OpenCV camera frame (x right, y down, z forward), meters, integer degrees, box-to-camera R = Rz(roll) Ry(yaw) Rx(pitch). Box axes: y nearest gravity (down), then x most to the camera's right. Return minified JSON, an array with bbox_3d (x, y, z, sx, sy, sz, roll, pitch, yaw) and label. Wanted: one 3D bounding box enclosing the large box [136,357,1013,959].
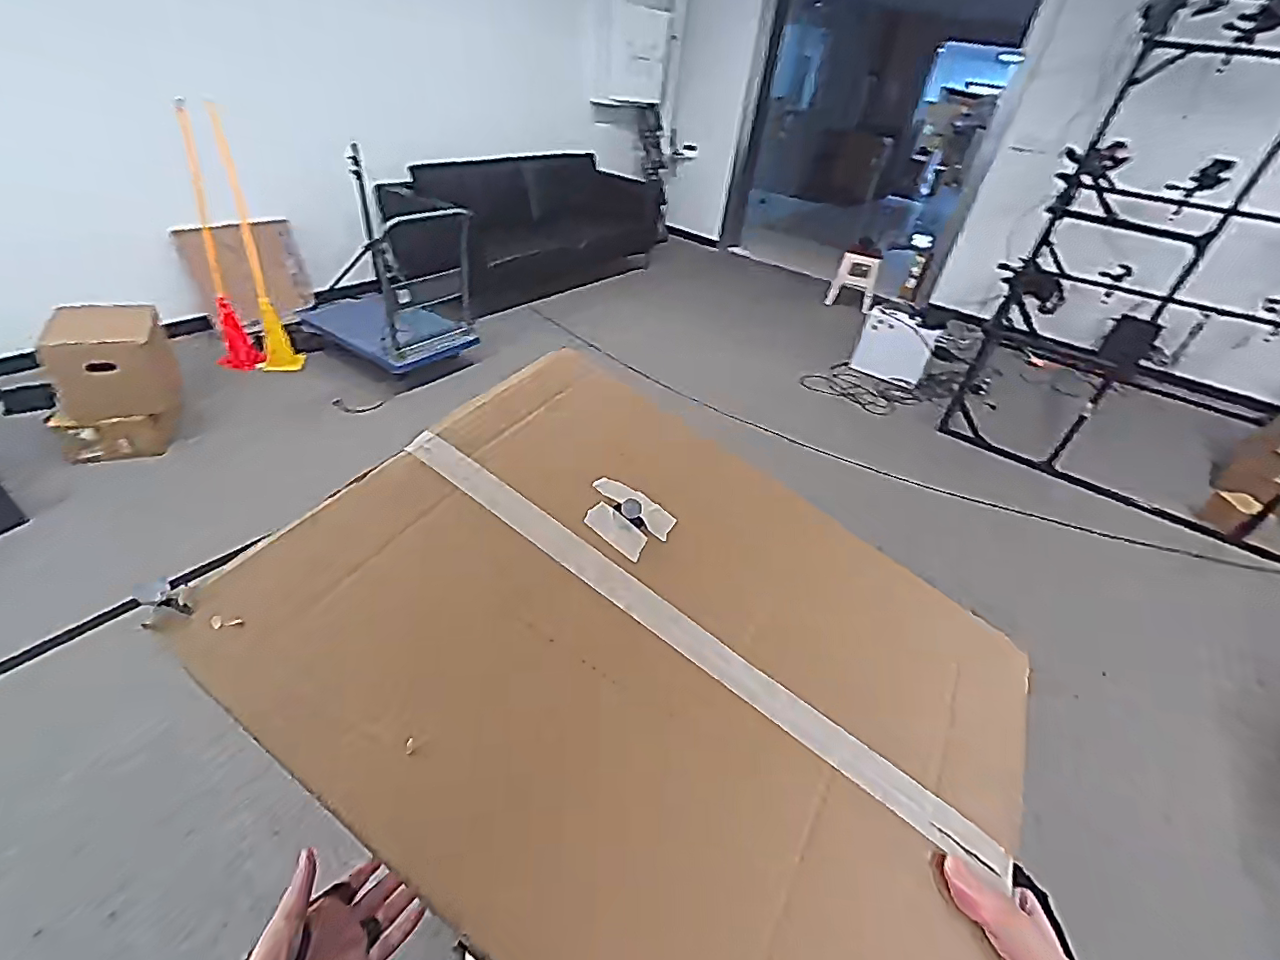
[{"bbox_3d":[-0.023,0.183,0.414,0.408,0.320,0.320,34,48,11],"label":"large box"}]
